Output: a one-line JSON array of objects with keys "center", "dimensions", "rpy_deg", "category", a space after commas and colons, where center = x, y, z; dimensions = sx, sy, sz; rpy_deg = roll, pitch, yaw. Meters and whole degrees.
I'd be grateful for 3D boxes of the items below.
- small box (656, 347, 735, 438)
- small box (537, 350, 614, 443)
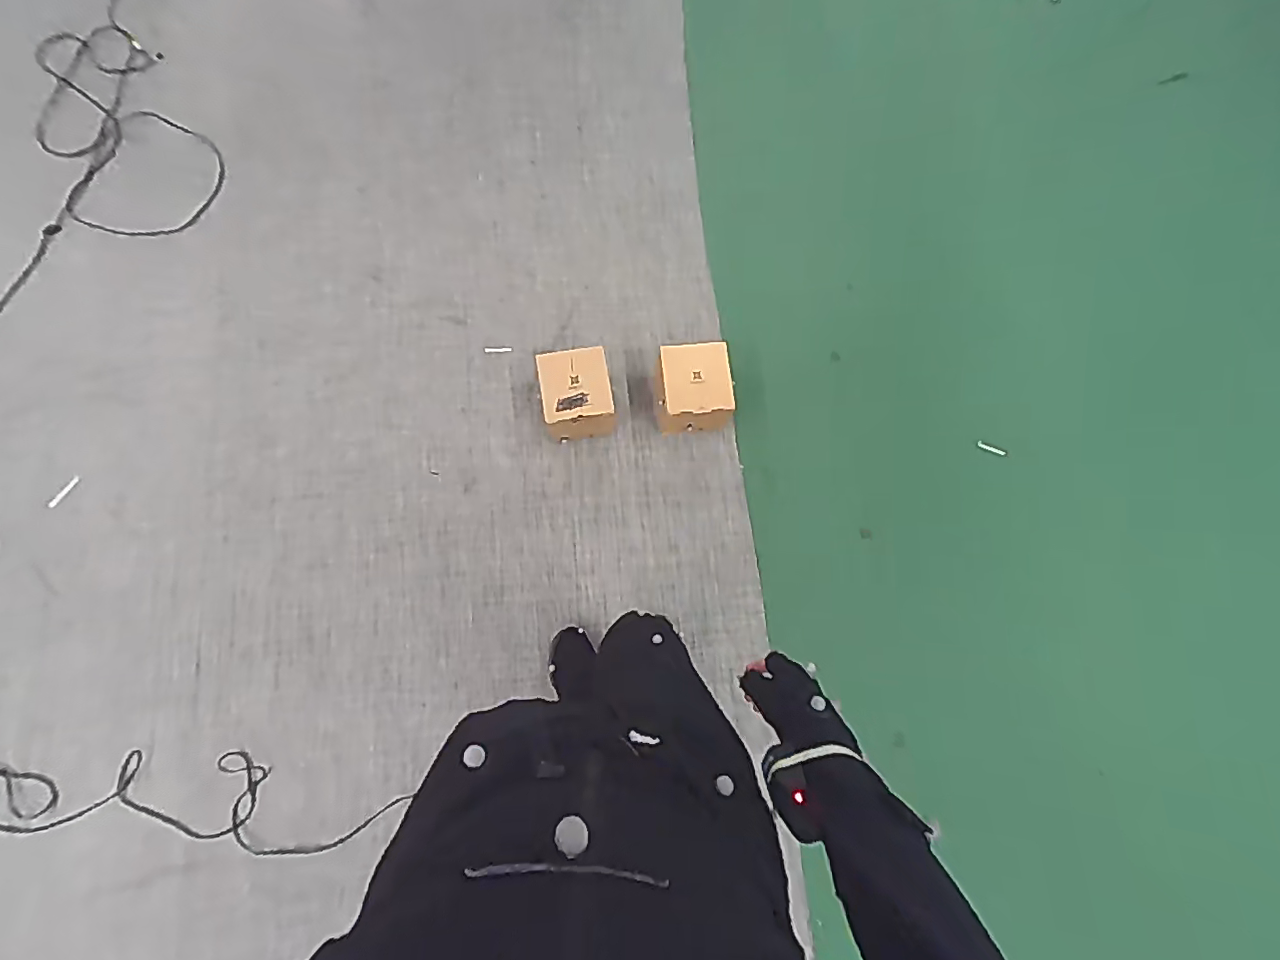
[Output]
[{"center": [0.134, -0.220, 1.383], "dimensions": [0.168, 0.176, 0.179], "rpy_deg": [-5, 78, -4], "category": "small box"}, {"center": [-0.157, -0.201, 1.359], "dimensions": [0.168, 0.176, 0.179], "rpy_deg": [-9, 77, -6], "category": "small box"}]
